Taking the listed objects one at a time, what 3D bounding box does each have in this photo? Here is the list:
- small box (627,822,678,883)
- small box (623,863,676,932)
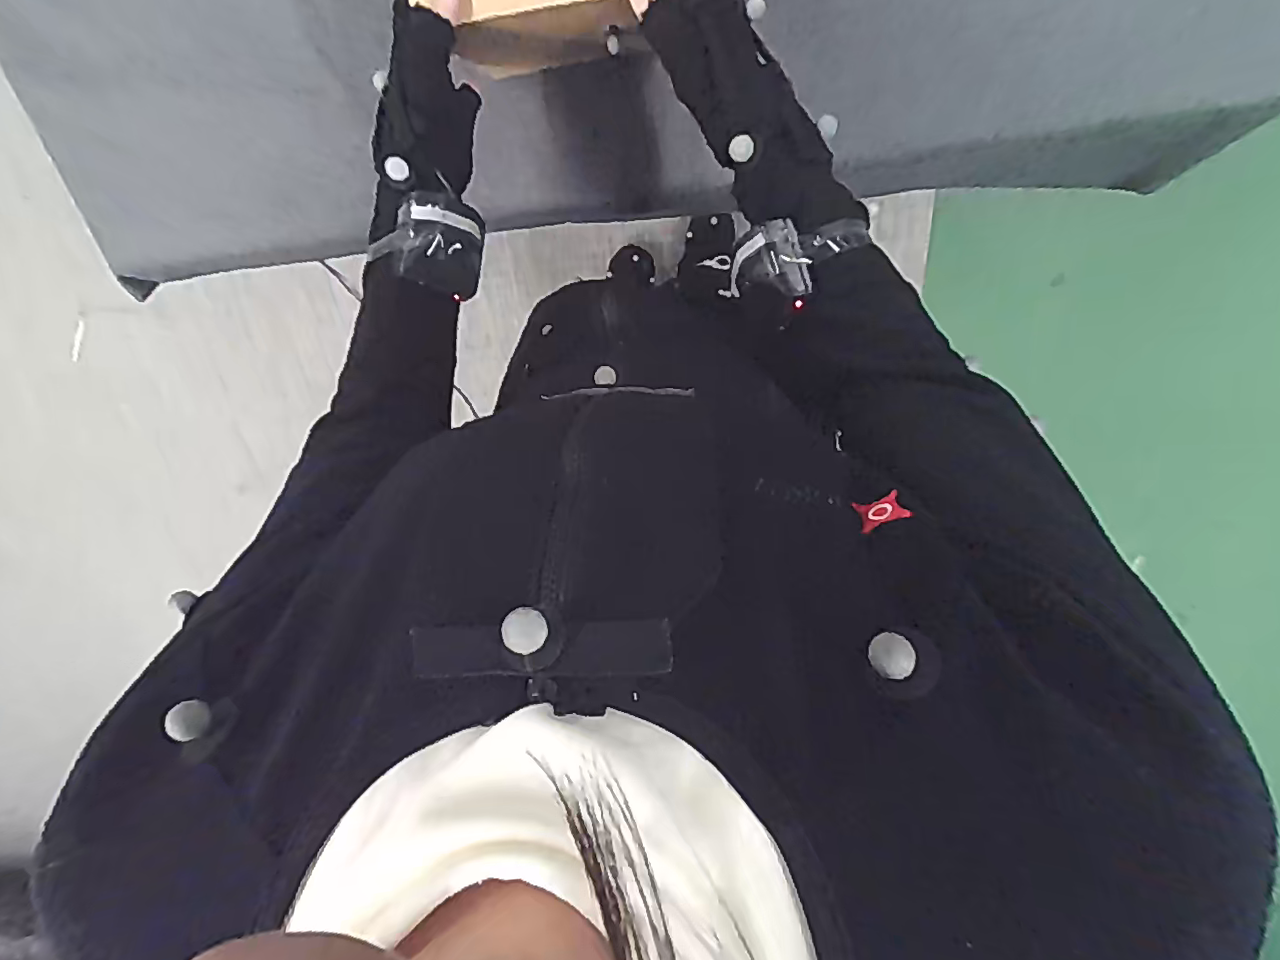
[{"bbox_3d":[0.058,1.591,2.308,0.179,0.176,0.168,-11,116,13],"label":"small box"},{"bbox_3d":[0.042,1.664,2.163,0.179,0.176,0.168,-7,117,11],"label":"small box"}]
